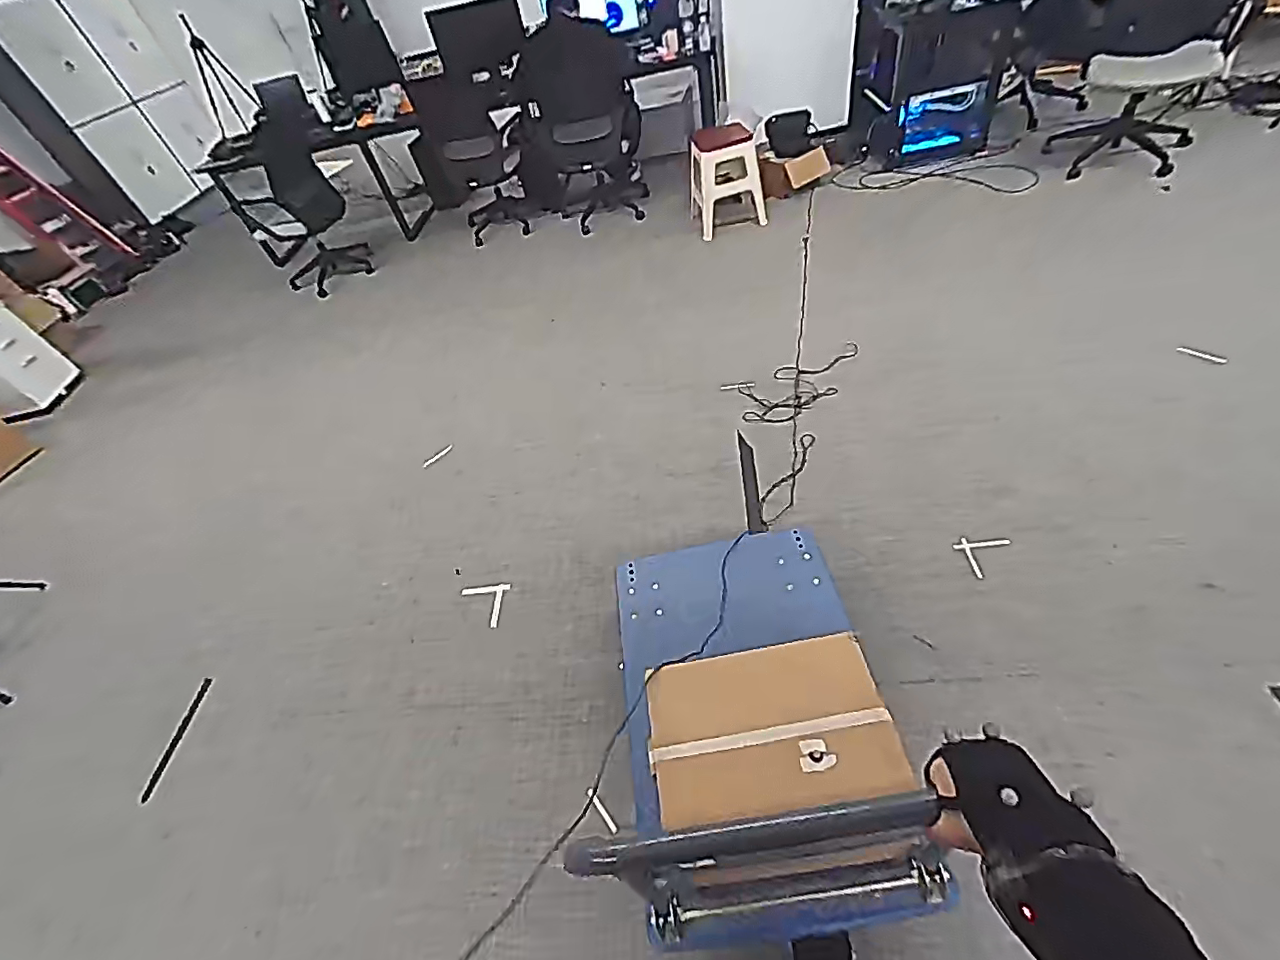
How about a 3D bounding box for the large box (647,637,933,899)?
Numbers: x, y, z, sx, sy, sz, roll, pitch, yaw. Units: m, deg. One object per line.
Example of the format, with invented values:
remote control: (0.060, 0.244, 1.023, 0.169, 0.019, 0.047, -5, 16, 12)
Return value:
large box: (0.249, 0.541, 1.008, 0.408, 0.320, 0.320, -12, 46, 4)
